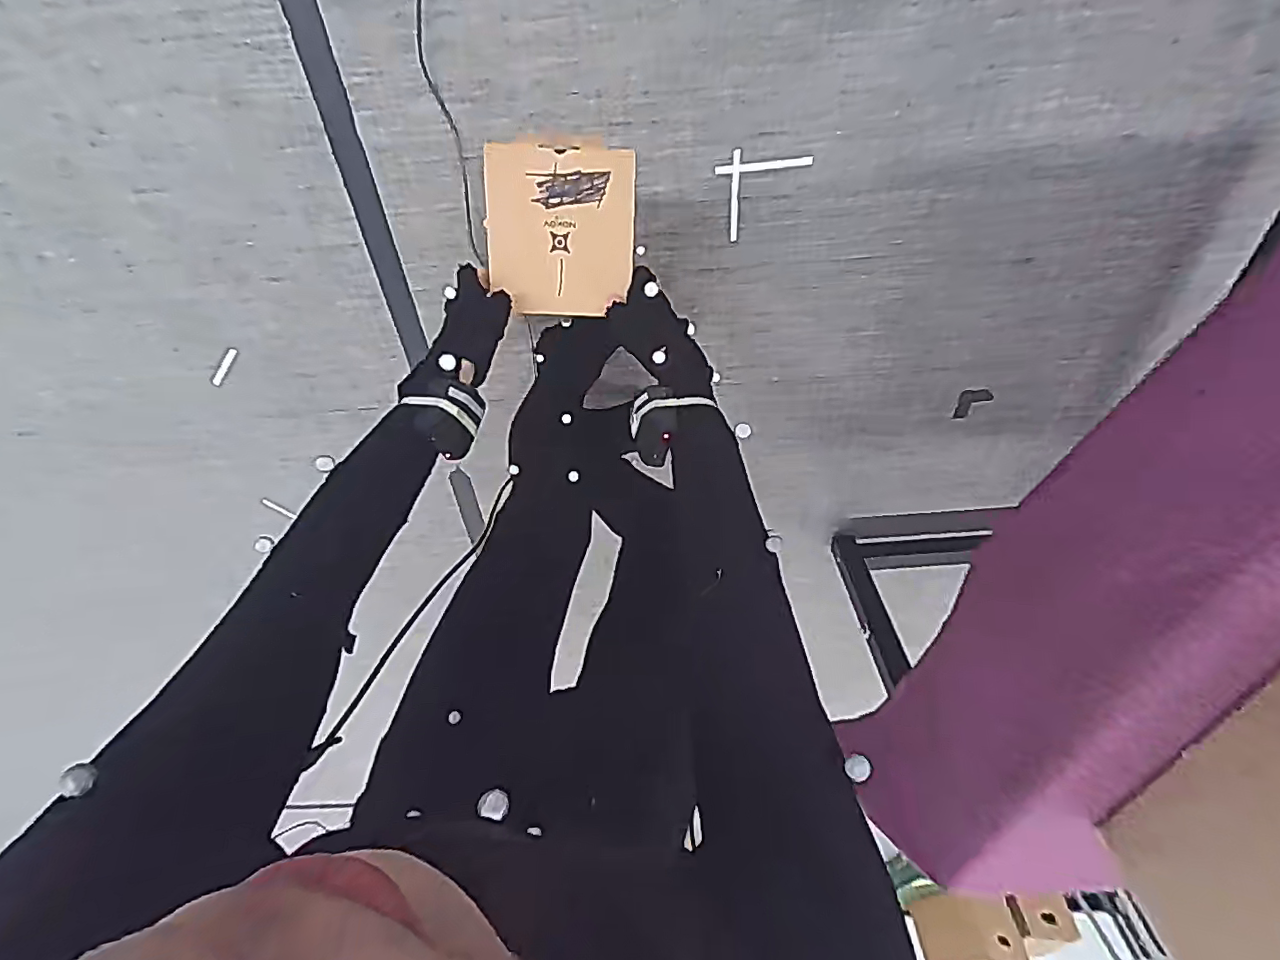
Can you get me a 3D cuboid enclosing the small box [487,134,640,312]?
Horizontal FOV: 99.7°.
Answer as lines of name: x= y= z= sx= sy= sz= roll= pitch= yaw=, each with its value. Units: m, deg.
small box: x=-0.088 y=-0.305 z=0.674 sx=0.168 sy=0.176 sz=0.179 roll=1 pitch=109 yaw=-2
